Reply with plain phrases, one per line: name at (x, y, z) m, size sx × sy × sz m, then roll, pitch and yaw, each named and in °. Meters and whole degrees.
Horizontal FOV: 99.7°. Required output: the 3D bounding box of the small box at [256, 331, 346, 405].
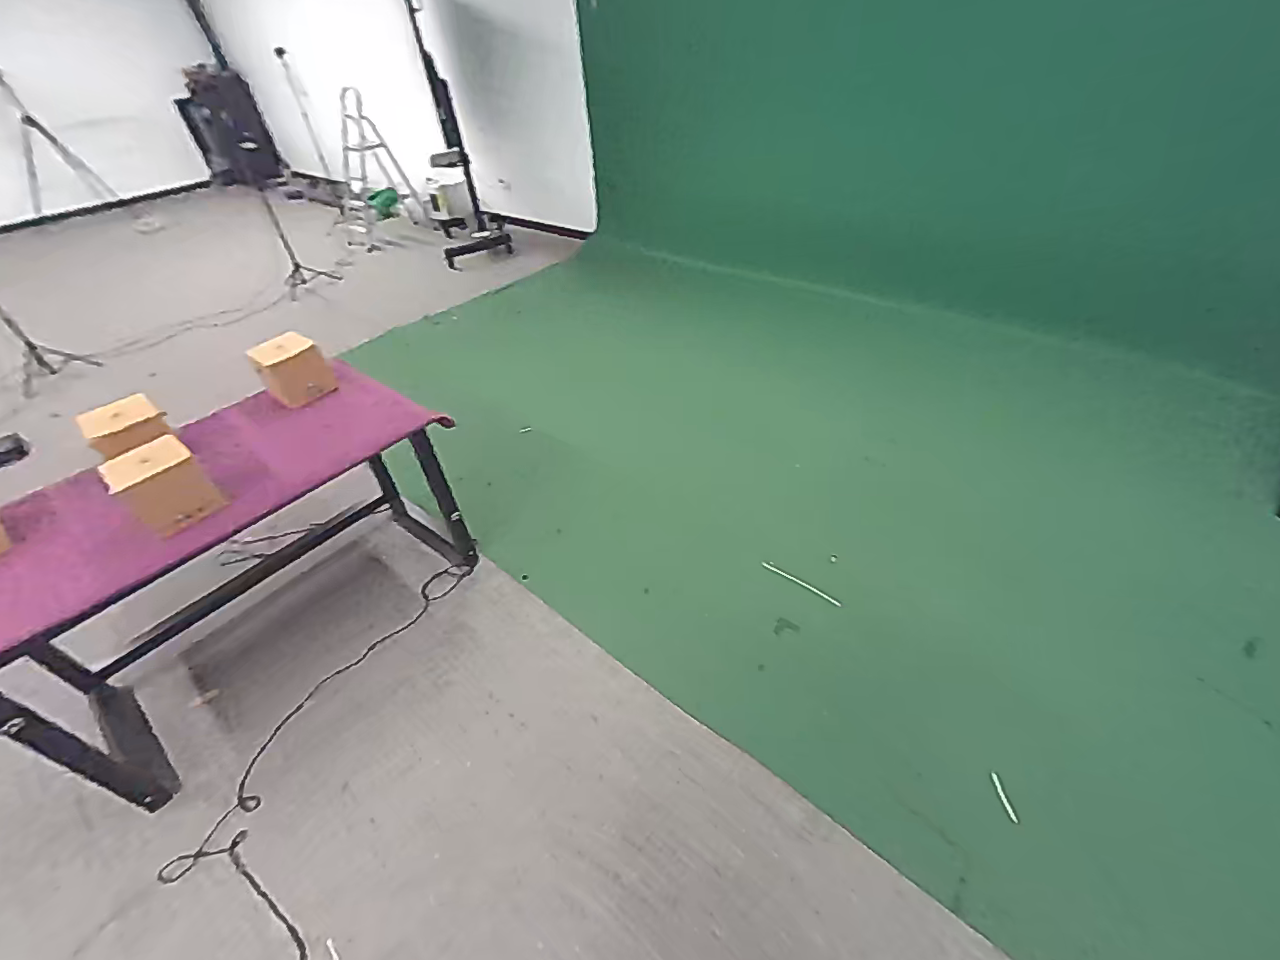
small box at (-1.141, -0.376, 1.827) m, size 0.179 × 0.176 × 0.168 m, roll 27°, pitch 54°, yaw 31°

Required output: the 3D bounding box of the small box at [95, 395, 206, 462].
small box at (-1.434, -0.120, 1.589) m, size 0.179 × 0.176 × 0.168 m, roll 30°, pitch 53°, yaw 31°

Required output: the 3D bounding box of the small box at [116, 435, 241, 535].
small box at (-1.196, 0.014, 1.409) m, size 0.179 × 0.176 × 0.168 m, roll 26°, pitch 52°, yaw 32°
